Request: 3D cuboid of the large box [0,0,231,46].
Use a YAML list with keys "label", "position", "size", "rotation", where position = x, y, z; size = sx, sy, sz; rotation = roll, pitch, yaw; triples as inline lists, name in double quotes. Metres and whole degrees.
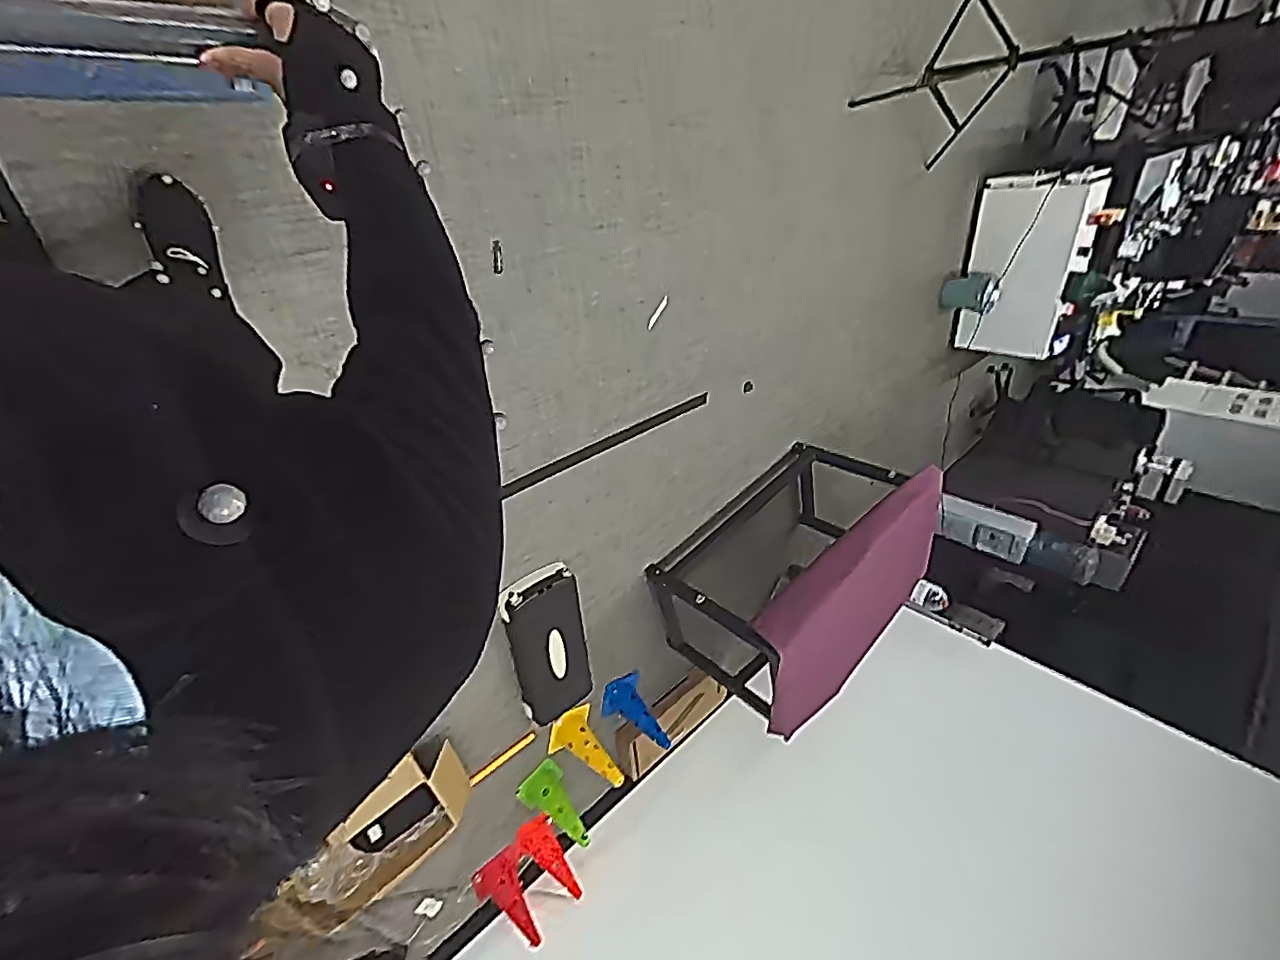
- label: "large box"
  position: [-0.793, -0.738, 0.627]
  size: [0.408, 0.320, 0.320]
  rotation: [-26, 128, -35]
